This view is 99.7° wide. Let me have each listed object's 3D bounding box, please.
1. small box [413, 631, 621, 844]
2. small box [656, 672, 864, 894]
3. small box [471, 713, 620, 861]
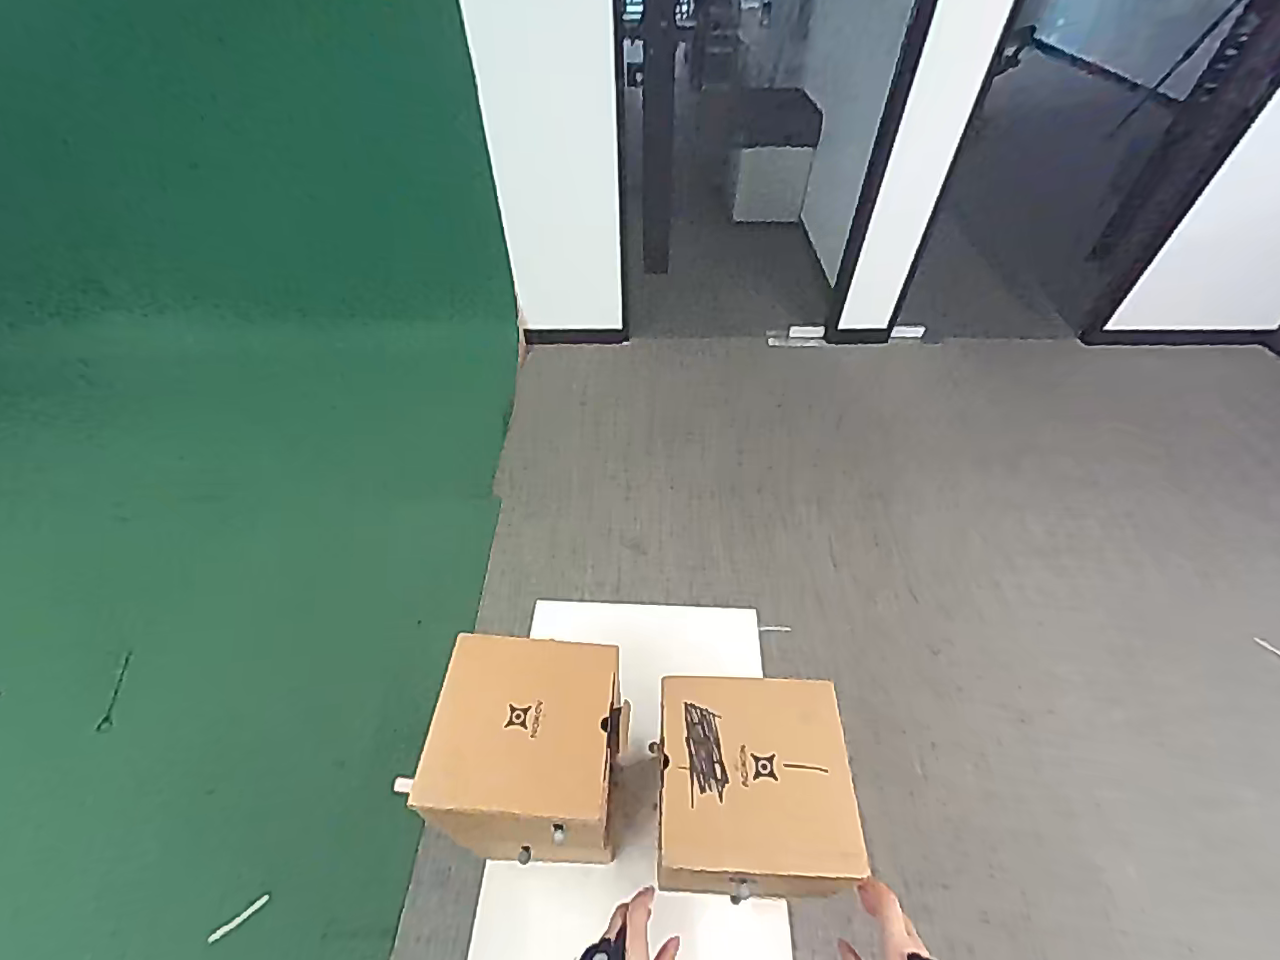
[{"bbox_3d":[-0.116,0.284,0.593,0.179,0.176,0.168,5,47,0],"label":"small box"},{"bbox_3d":[0.107,0.317,0.563,0.179,0.176,0.168,2,48,2],"label":"small box"},{"bbox_3d":[-0.119,0.393,0.717,0.179,0.176,0.168,3,48,0],"label":"small box"}]
